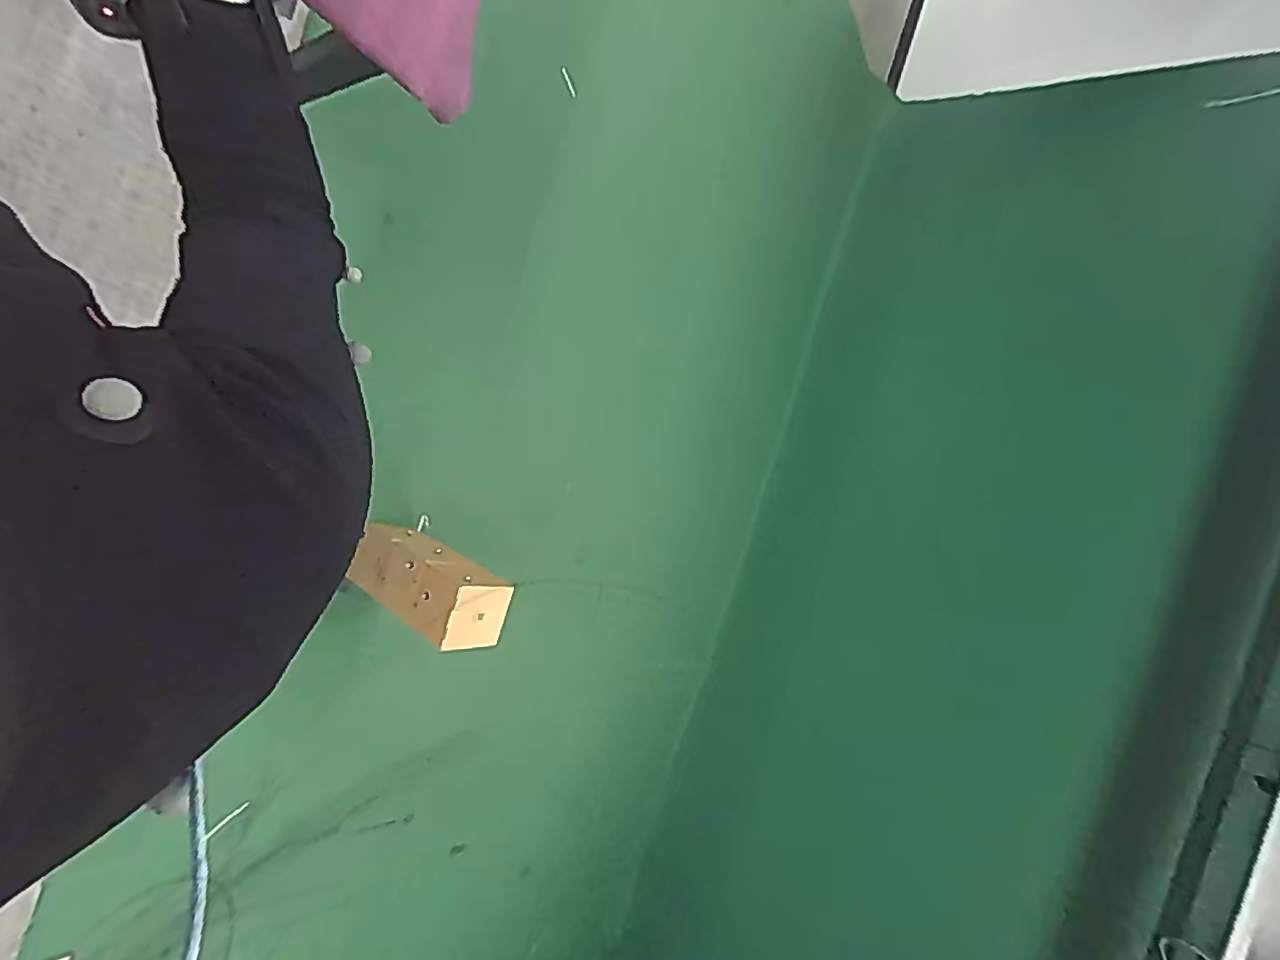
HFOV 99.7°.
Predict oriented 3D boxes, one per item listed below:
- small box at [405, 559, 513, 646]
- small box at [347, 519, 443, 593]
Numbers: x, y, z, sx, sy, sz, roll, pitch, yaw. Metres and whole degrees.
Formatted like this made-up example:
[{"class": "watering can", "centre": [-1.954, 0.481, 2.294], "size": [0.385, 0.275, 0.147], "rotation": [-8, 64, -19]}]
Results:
[{"class": "small box", "centre": [-0.469, 0.312, 1.402], "size": [0.179, 0.176, 0.168], "rotation": [16, 92, -55]}, {"class": "small box", "centre": [-0.722, 0.221, 1.589], "size": [0.179, 0.176, 0.168], "rotation": [21, 89, -55]}]
